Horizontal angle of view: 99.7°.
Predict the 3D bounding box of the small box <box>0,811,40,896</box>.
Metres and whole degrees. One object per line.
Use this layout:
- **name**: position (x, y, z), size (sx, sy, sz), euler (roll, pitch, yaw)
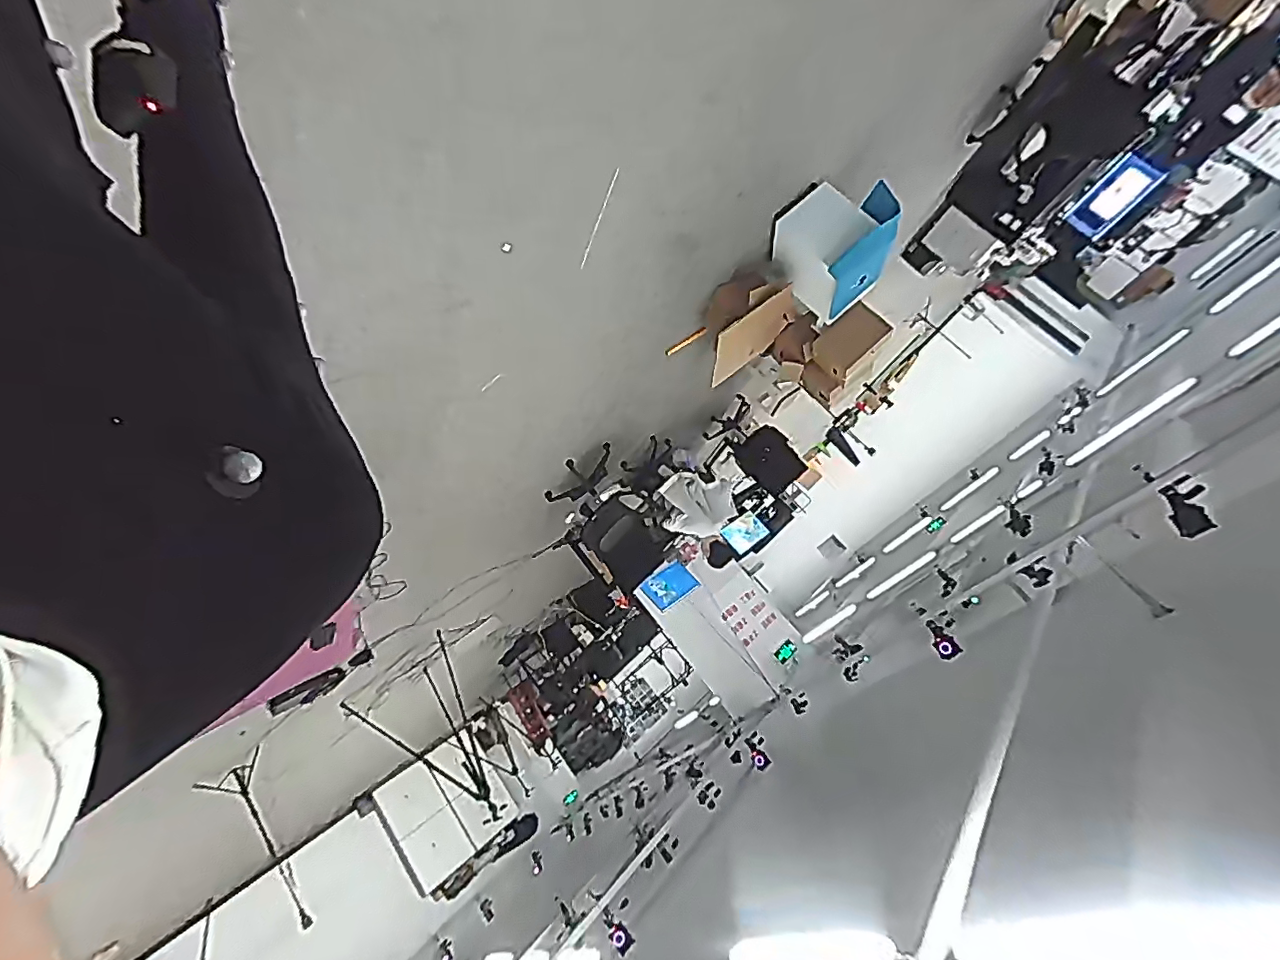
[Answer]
- **small box**: position (-1.718, 0.996, 1.399), size (0.168, 0.176, 0.179), euler (-26, 159, -44)
